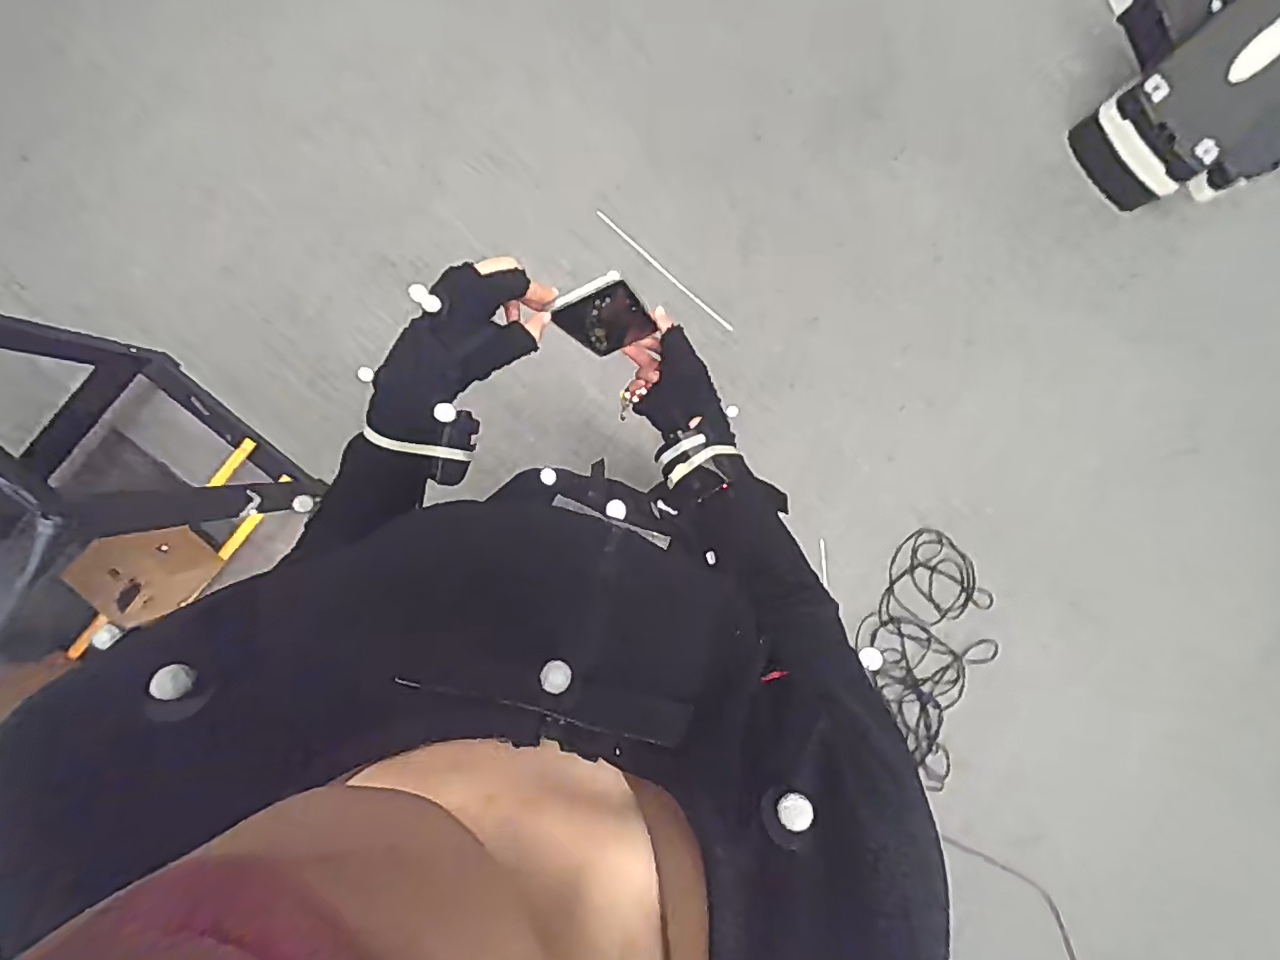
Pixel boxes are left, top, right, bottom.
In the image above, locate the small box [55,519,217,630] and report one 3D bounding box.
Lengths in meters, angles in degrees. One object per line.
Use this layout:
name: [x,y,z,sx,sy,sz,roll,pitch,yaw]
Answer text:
small box: [-1.144,0.207,1.246,0.179,0.176,0.168,44,90,-3]
